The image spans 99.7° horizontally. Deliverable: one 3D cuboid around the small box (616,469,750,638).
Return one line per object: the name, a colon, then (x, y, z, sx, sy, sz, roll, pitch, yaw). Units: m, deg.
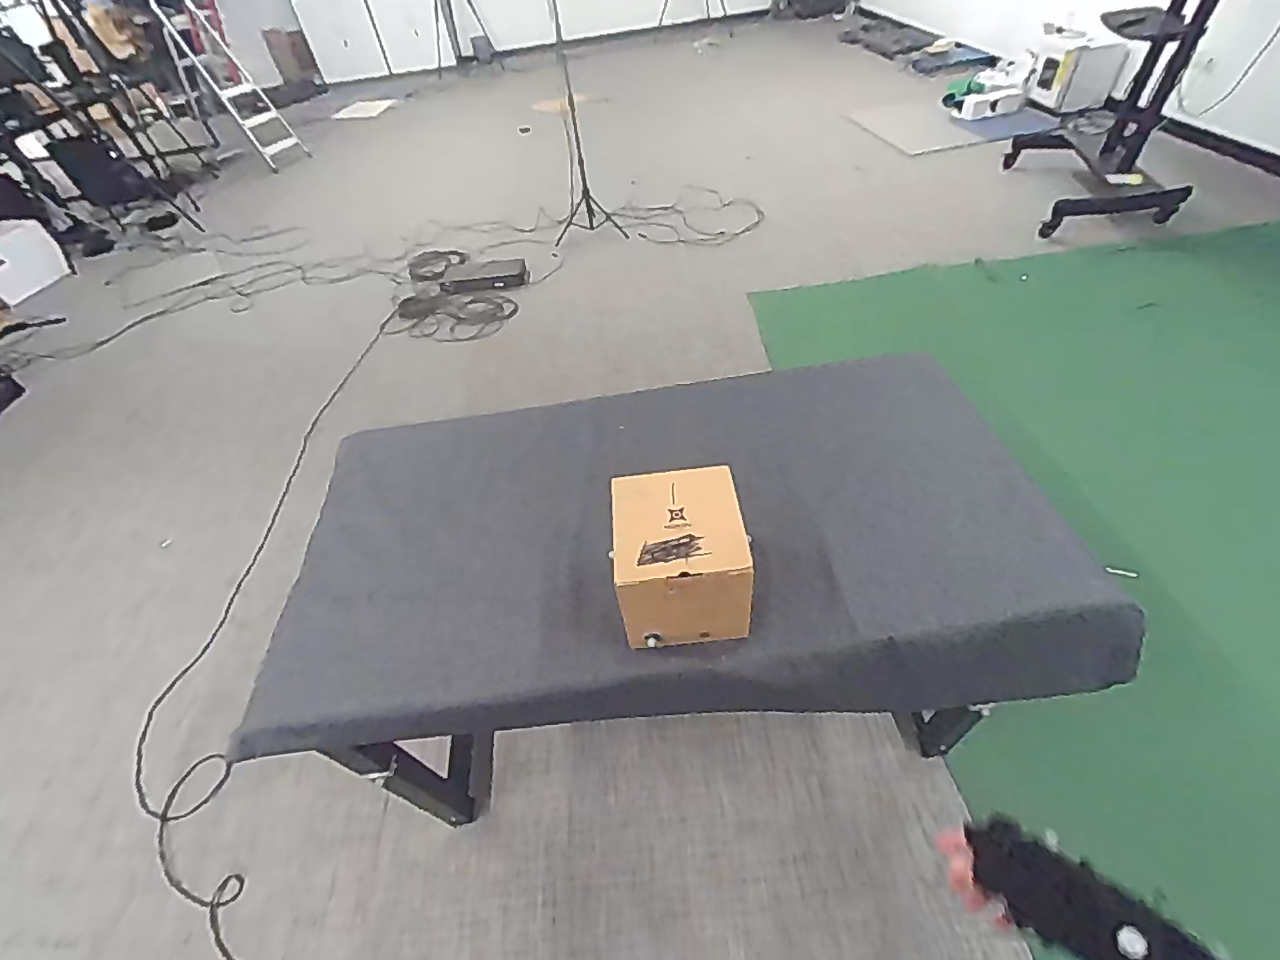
small box: (0.058, 0.109, 0.758, 0.168, 0.176, 0.179, -5, 46, 2)
